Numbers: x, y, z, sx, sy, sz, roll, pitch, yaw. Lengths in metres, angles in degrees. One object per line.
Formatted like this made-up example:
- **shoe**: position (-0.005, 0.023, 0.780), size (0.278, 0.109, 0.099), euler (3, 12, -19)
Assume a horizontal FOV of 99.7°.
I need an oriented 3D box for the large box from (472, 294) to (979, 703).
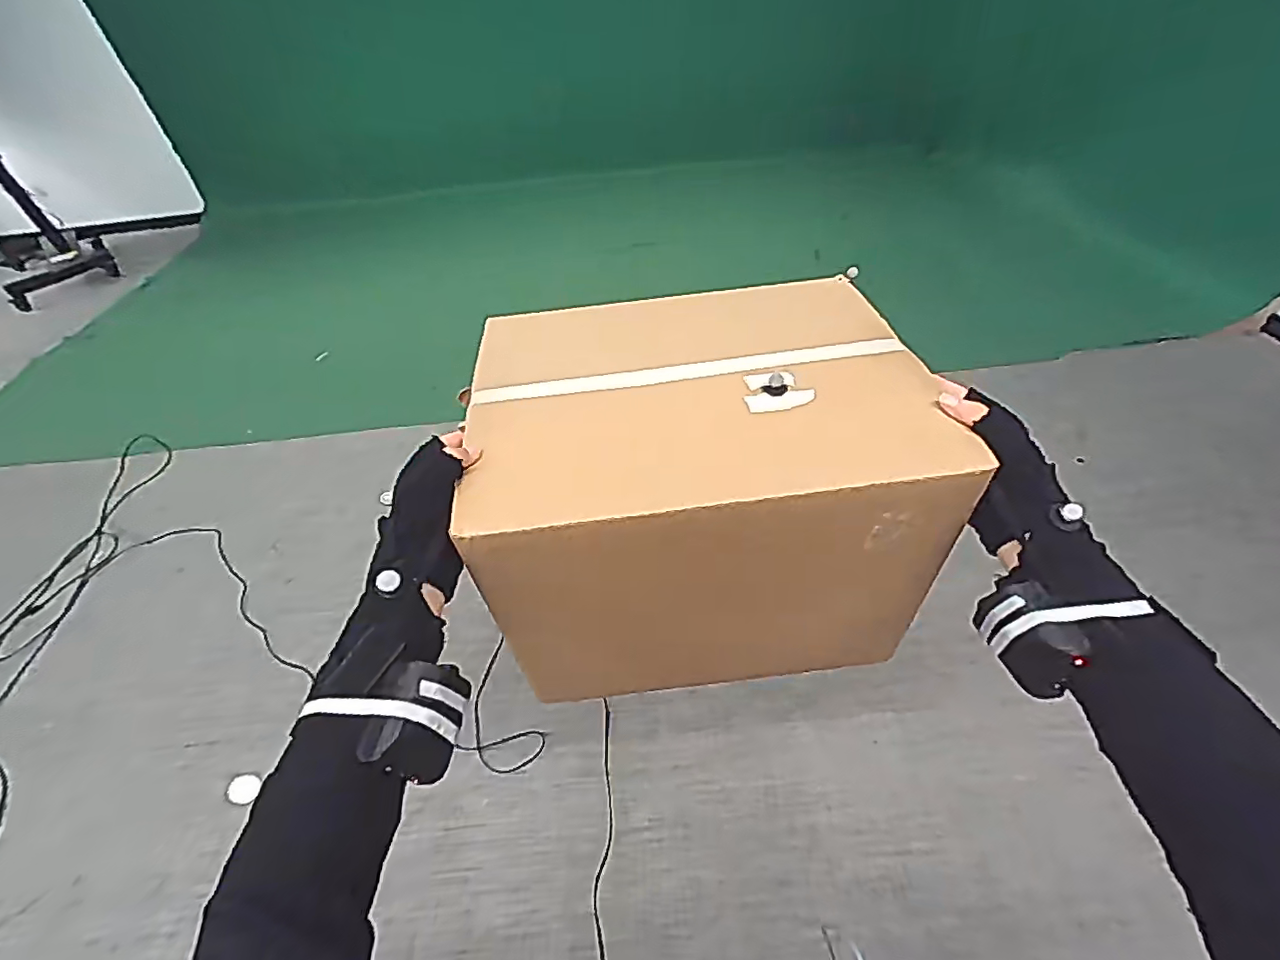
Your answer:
- **large box**: position (0.059, 0.020, 0.617), size (0.408, 0.320, 0.320), euler (-7, 46, -2)
